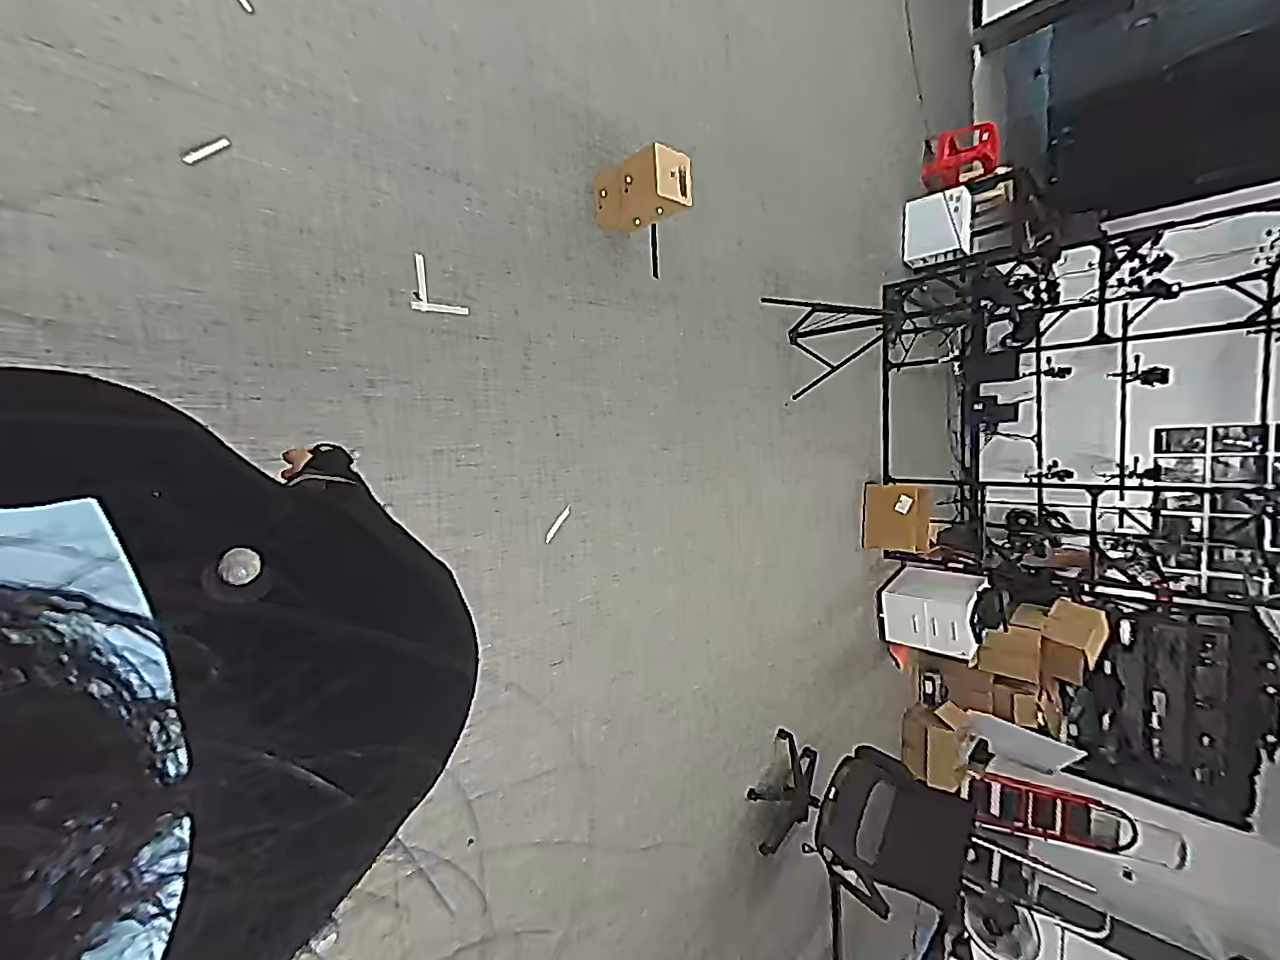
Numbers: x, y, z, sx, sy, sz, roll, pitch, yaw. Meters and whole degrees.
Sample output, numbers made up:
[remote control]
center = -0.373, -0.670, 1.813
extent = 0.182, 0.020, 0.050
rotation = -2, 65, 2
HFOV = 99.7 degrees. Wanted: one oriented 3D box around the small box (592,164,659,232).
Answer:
[small box]
center = -0.052, -1.030, 1.990
extent = 0.179, 0.176, 0.168
rotation = -14, 101, -44
